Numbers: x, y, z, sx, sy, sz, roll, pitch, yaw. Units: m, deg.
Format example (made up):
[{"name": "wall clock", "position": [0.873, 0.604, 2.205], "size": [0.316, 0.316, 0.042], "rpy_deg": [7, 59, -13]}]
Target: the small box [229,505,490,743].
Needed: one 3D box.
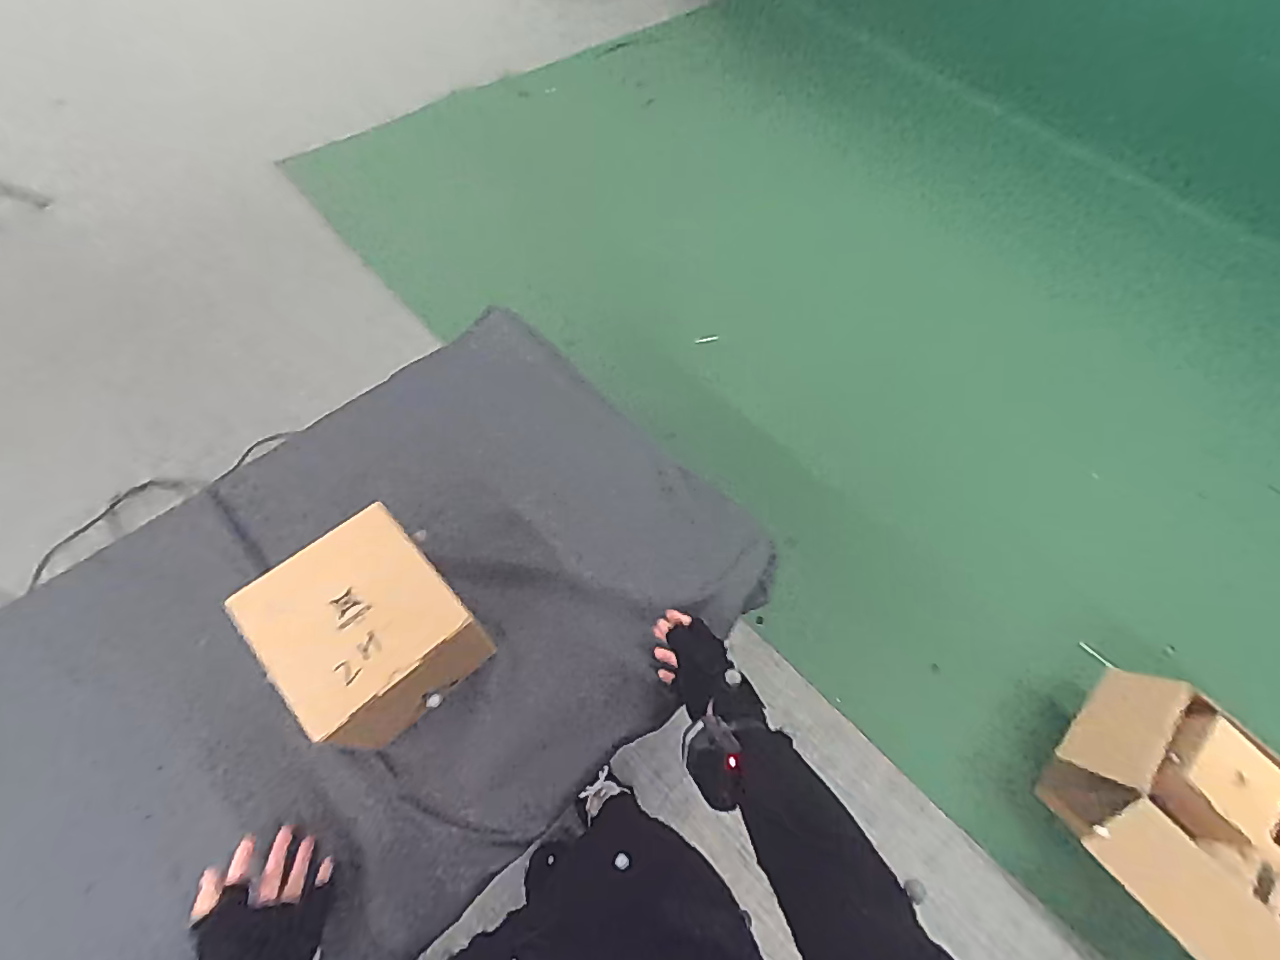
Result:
[{"name": "small box", "position": [-0.290, 0.166, 0.596], "size": [0.168, 0.176, 0.179], "rpy_deg": [-39, 72, -23]}]
